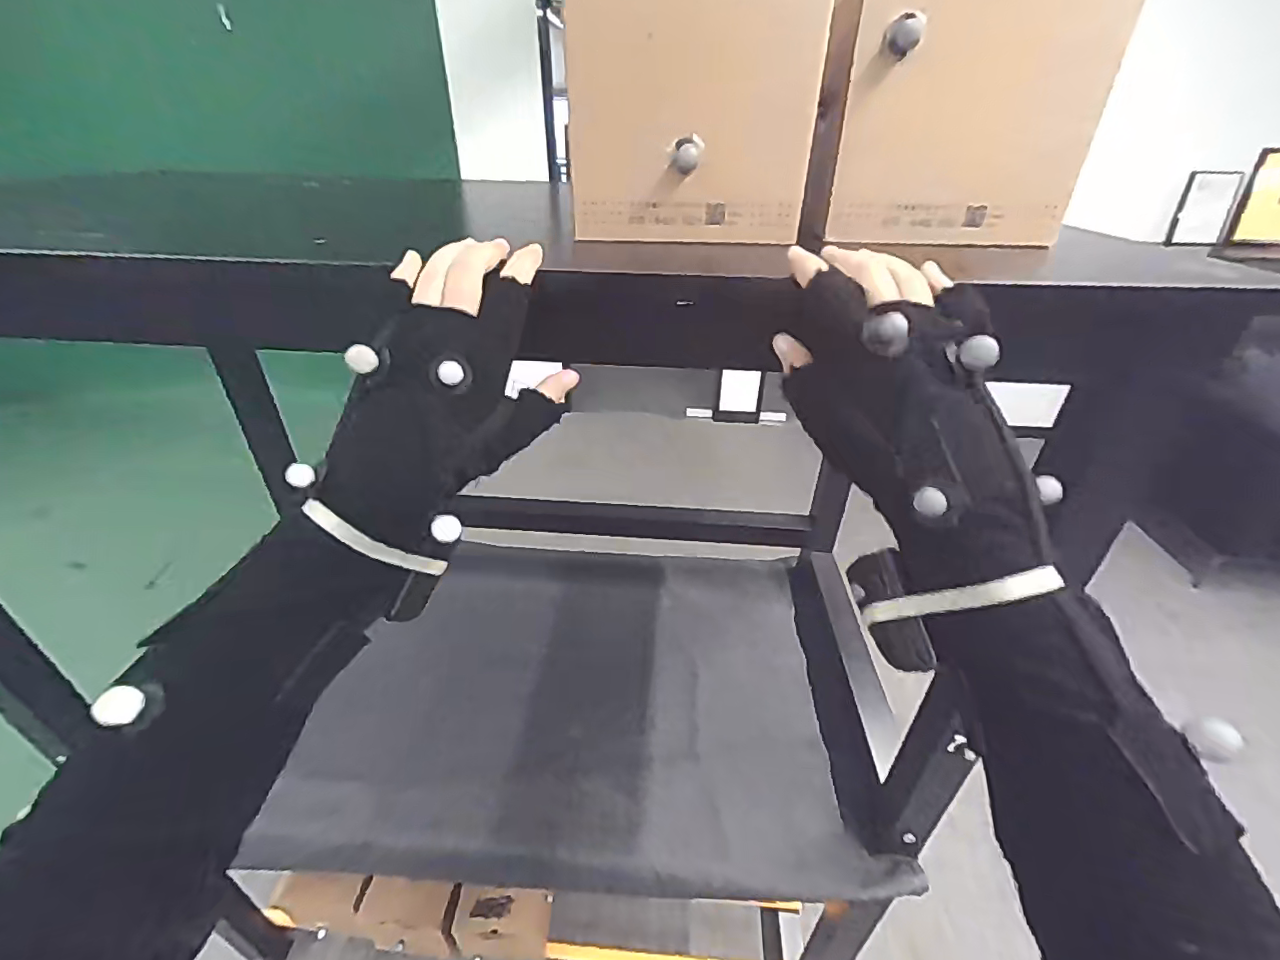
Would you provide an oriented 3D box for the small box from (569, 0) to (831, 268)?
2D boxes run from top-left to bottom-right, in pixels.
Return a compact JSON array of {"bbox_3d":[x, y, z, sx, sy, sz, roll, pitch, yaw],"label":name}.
[{"bbox_3d":[0.038,-0.279,0.438,0.168,0.176,0.179,2,33,2],"label":"small box"}]
